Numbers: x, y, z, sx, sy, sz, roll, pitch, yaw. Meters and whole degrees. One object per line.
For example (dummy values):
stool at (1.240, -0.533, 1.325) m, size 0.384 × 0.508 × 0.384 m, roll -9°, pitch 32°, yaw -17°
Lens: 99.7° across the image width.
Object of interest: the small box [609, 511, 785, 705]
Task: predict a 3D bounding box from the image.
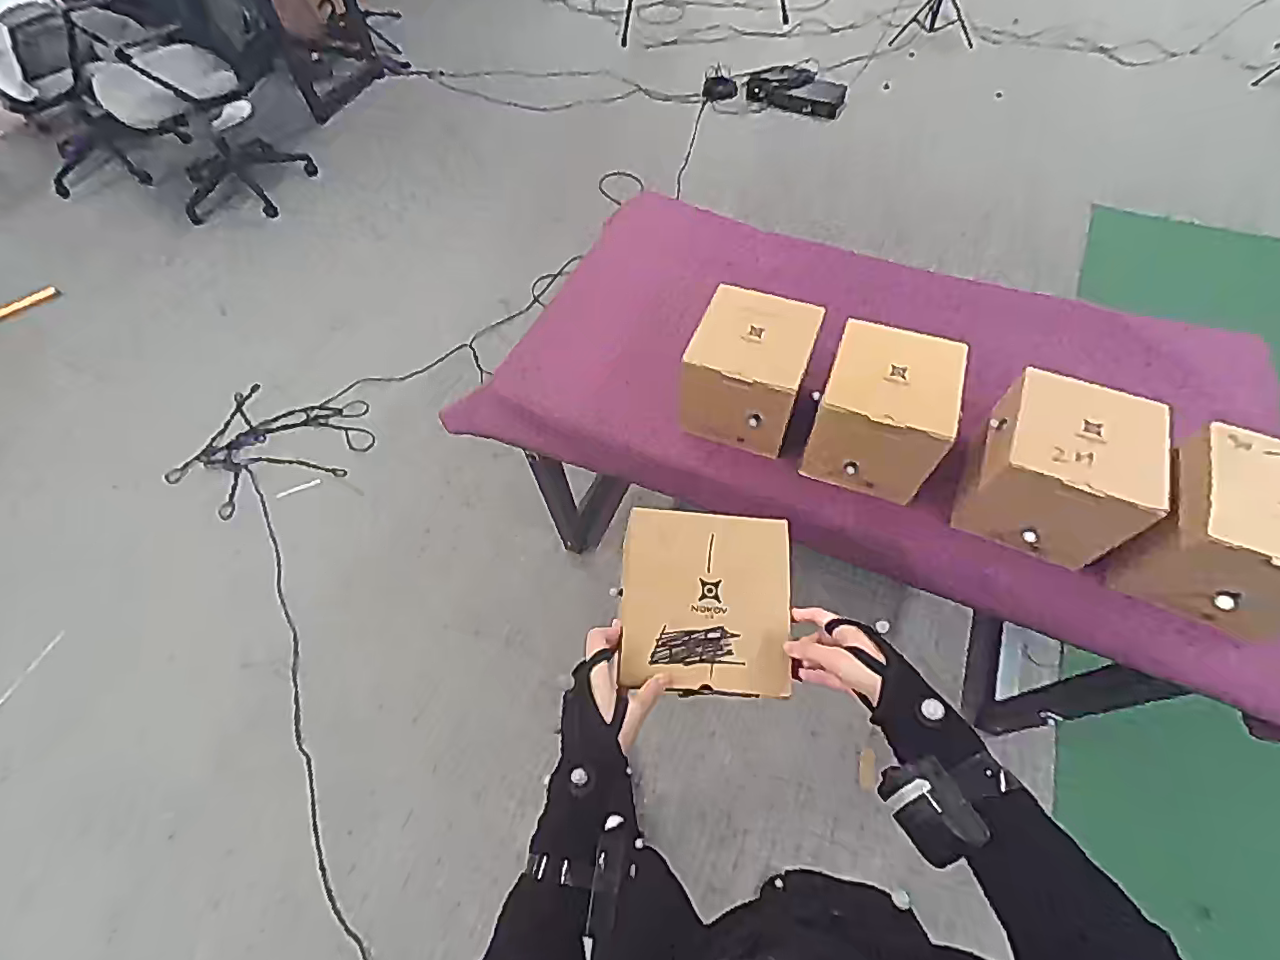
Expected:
small box at (0.056, 0.145, 0.602) m, size 0.168 × 0.176 × 0.179 m, roll 5°, pitch 71°, yaw -2°
